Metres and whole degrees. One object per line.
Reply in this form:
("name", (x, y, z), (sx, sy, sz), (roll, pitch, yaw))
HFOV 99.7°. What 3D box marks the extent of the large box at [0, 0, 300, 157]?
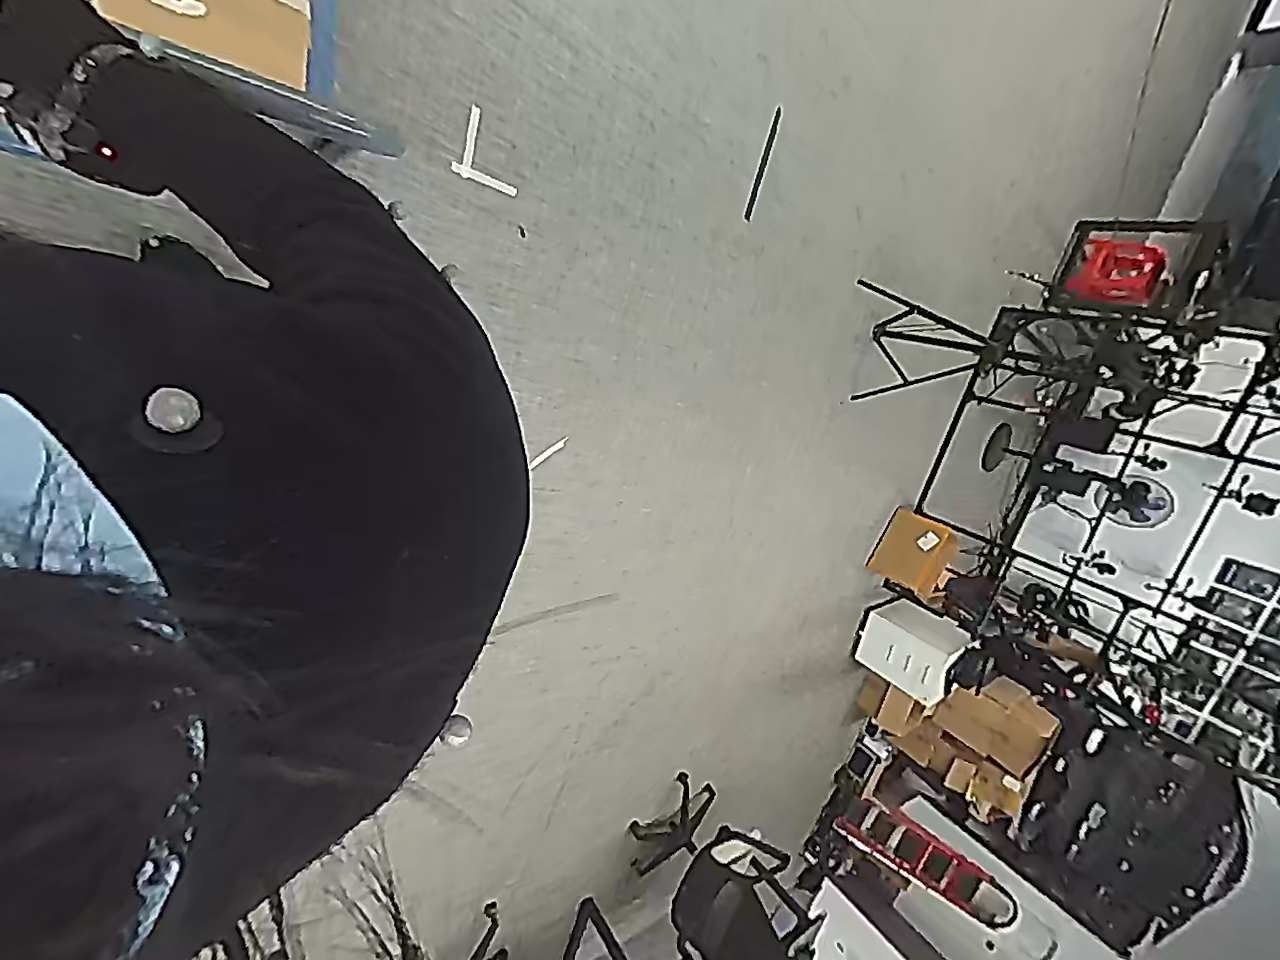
("large box", (-0.694, -0.660, 0.689), (0.408, 0.320, 0.320), (-3, 111, -41))
